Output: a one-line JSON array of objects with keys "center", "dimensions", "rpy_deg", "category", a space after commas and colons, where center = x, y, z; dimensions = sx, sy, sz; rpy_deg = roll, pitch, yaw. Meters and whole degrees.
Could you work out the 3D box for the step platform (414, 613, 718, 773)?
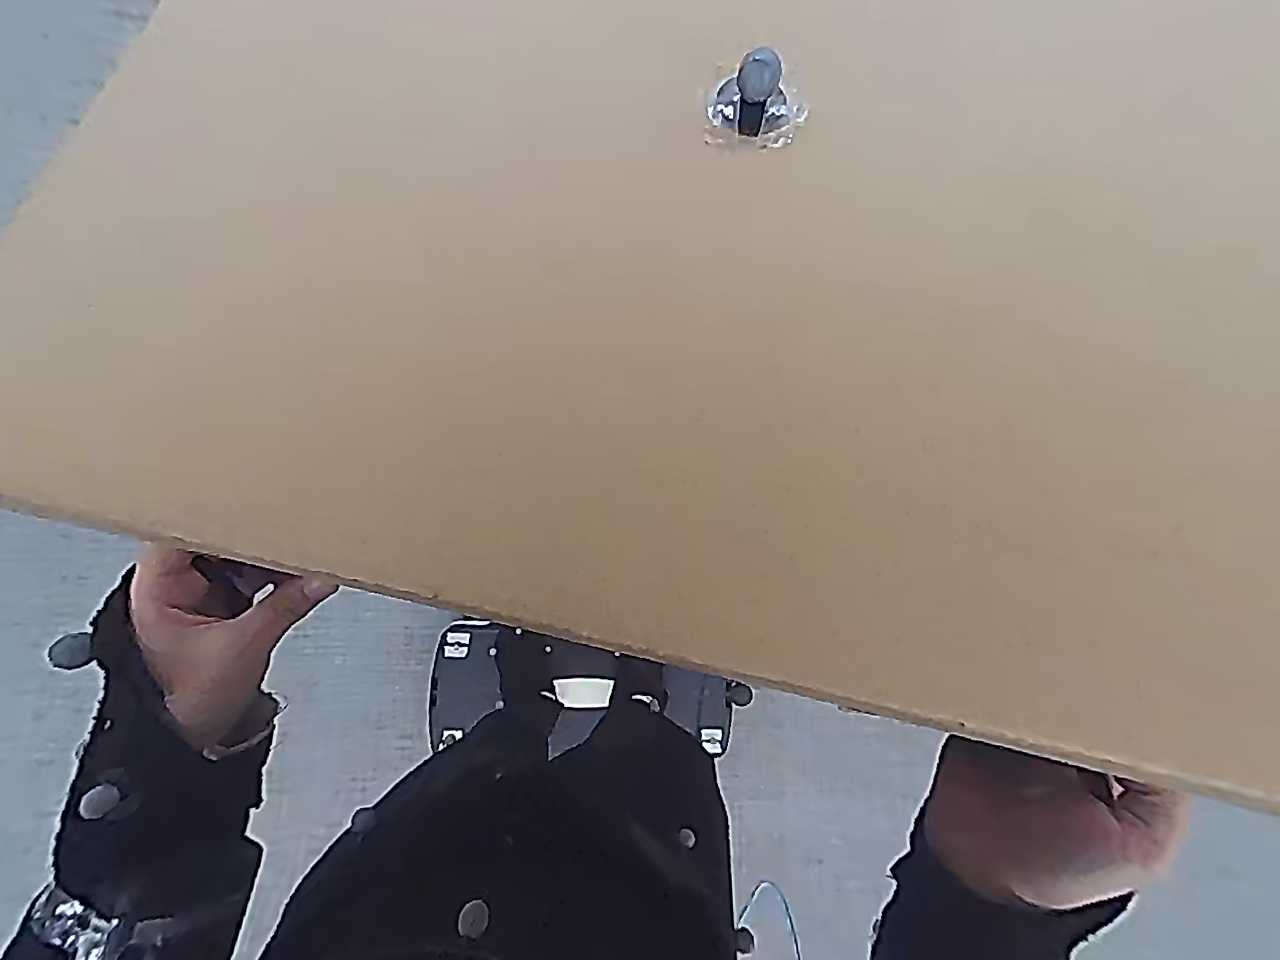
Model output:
[{"center": [-0.160, 0.490, 1.272], "dimensions": [0.684, 0.204, 0.286], "rpy_deg": [6, 79, -2], "category": "step platform"}]
